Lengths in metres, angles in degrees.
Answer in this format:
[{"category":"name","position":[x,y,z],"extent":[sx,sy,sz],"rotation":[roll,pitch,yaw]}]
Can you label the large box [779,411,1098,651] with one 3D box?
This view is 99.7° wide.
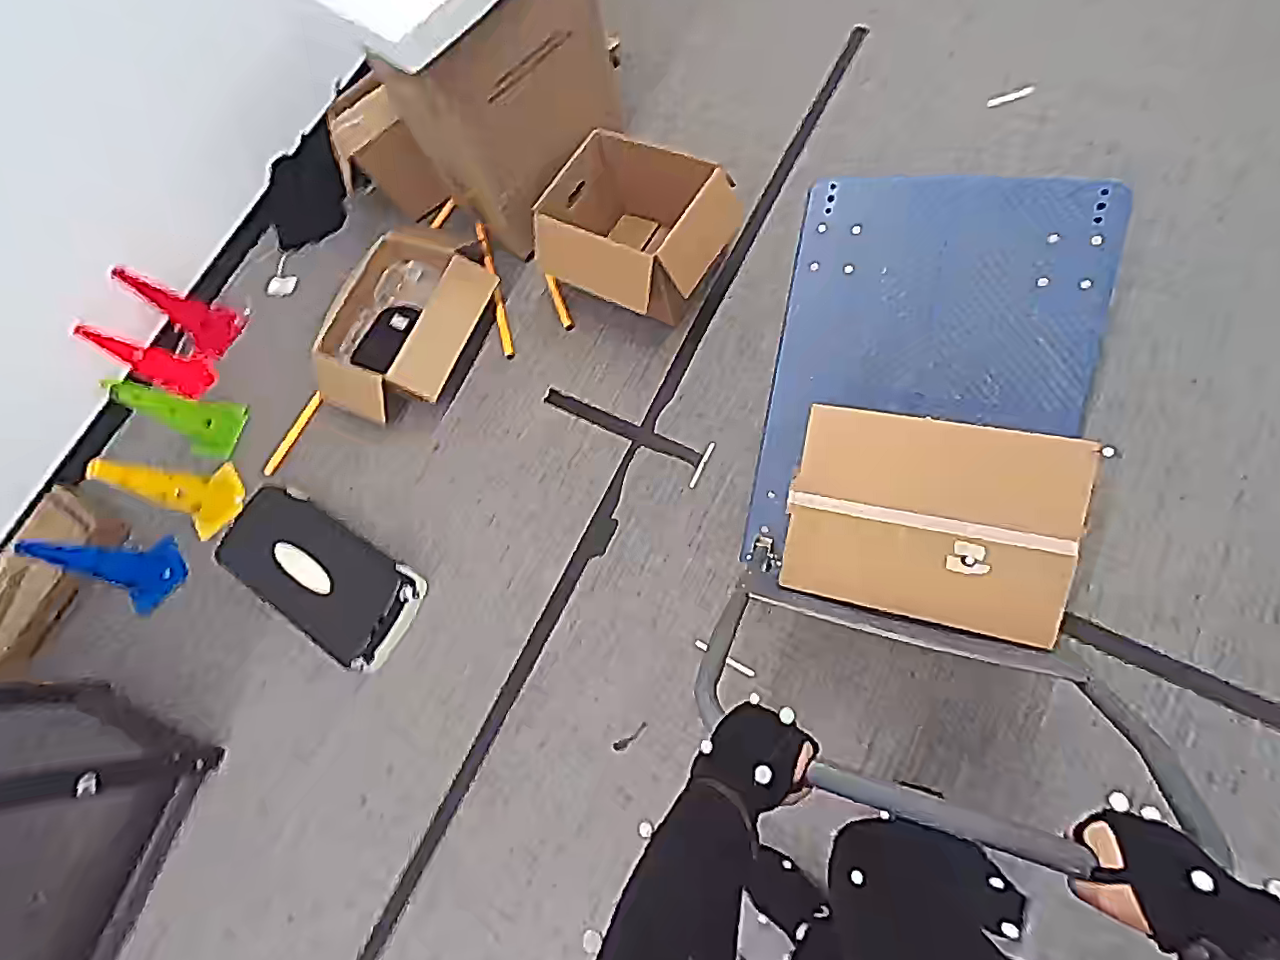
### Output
[{"category":"large box","position":[0.482,0.063,0.974],"extent":[0.408,0.320,0.320],"rotation":[11,97,17]}]
